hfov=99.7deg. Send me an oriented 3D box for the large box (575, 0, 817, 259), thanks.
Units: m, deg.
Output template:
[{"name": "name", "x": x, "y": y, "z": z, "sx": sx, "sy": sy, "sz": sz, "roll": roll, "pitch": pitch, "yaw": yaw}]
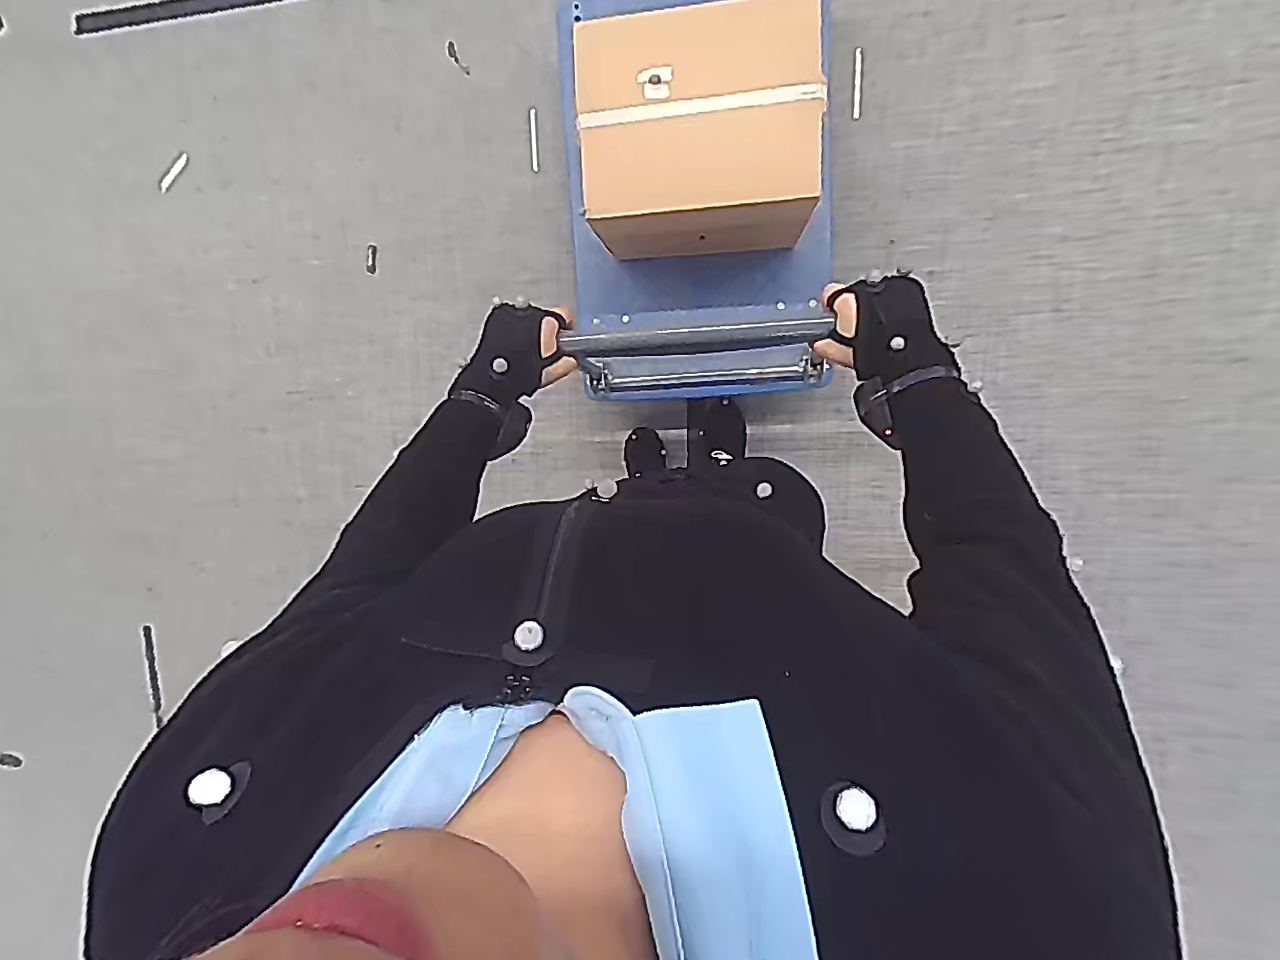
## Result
[{"name": "large box", "x": 0.116, "y": -0.644, "z": 1.061, "sx": 0.408, "sy": 0.320, "sz": 0.320, "roll": -2, "pitch": 98, "yaw": 9}]
